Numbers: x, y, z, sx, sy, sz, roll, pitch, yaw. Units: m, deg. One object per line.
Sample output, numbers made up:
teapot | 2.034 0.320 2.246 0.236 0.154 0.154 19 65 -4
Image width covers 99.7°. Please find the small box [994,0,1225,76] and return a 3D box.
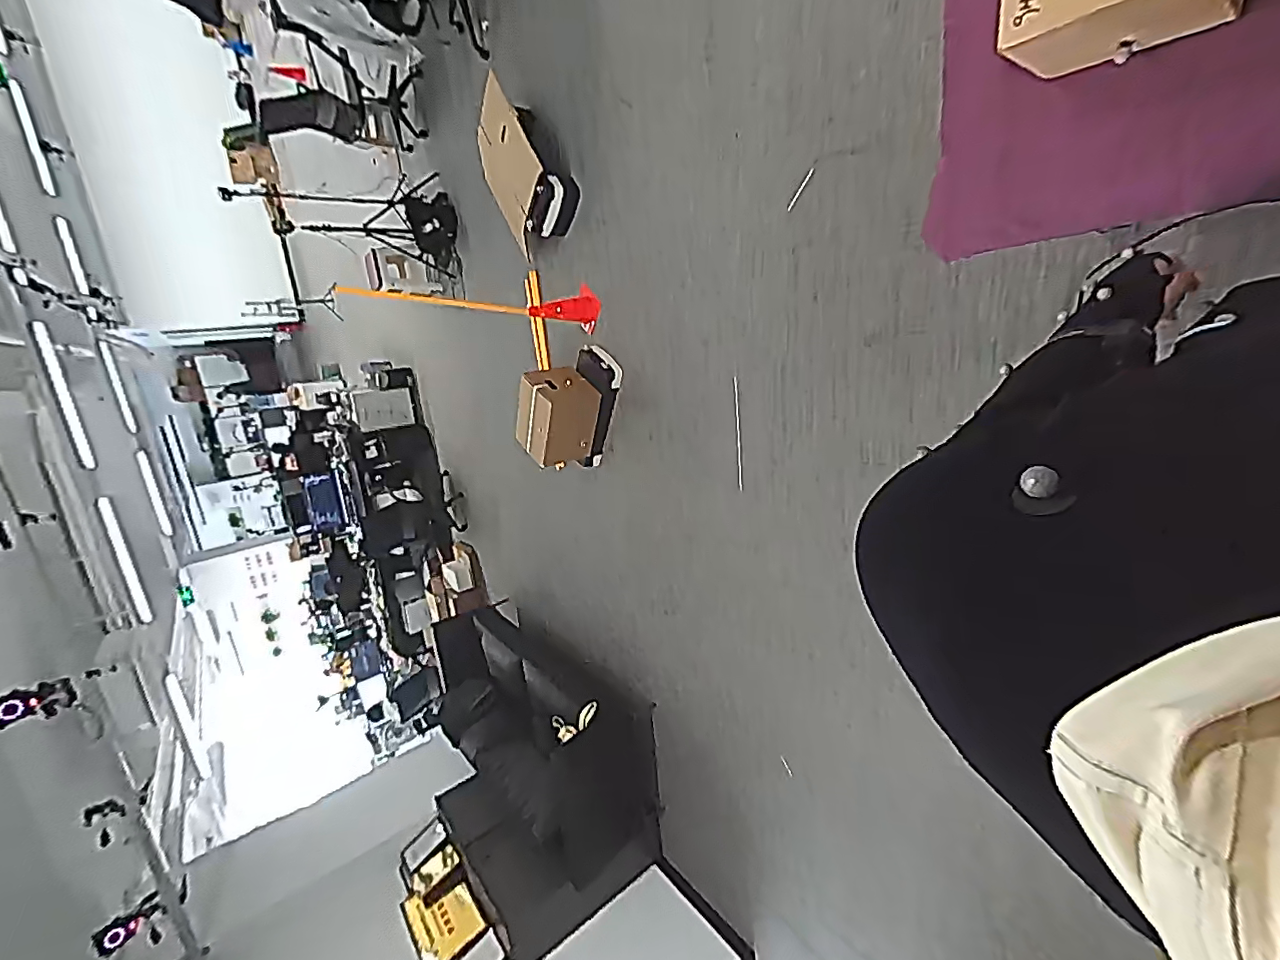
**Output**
small box | 0.508 -0.564 0.569 0.179 0.176 0.168 14 115 49
